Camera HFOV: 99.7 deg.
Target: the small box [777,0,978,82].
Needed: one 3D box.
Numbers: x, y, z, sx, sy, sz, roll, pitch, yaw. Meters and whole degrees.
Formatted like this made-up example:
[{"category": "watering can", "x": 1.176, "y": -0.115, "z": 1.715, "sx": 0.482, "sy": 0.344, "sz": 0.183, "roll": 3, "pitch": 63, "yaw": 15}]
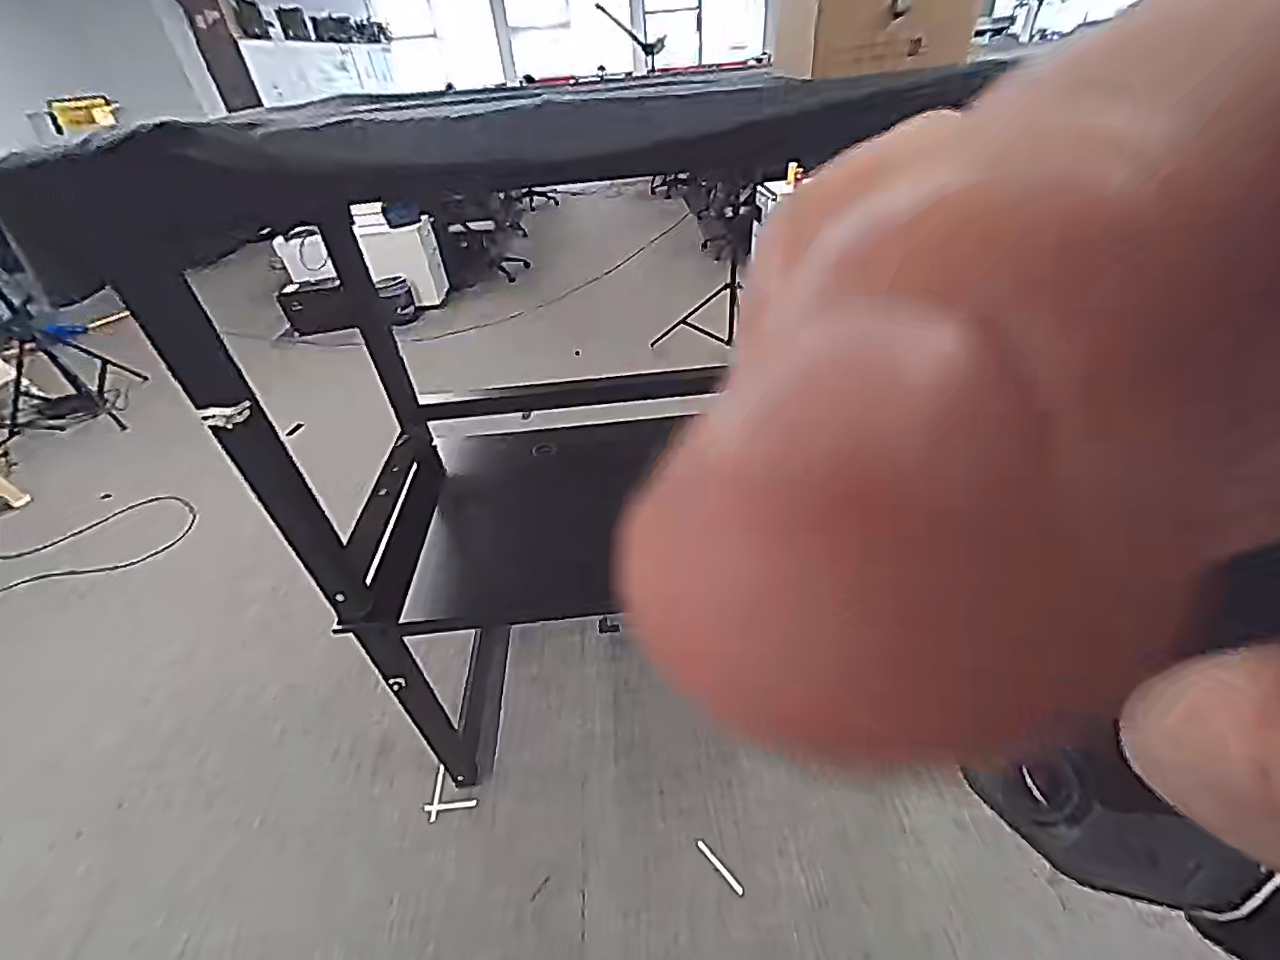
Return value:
[{"category": "small box", "x": 0.251, "y": -0.542, "z": 0.587, "sx": 0.168, "sy": 0.176, "sz": 0.179, "roll": -6, "pitch": 38, "yaw": 1}]
